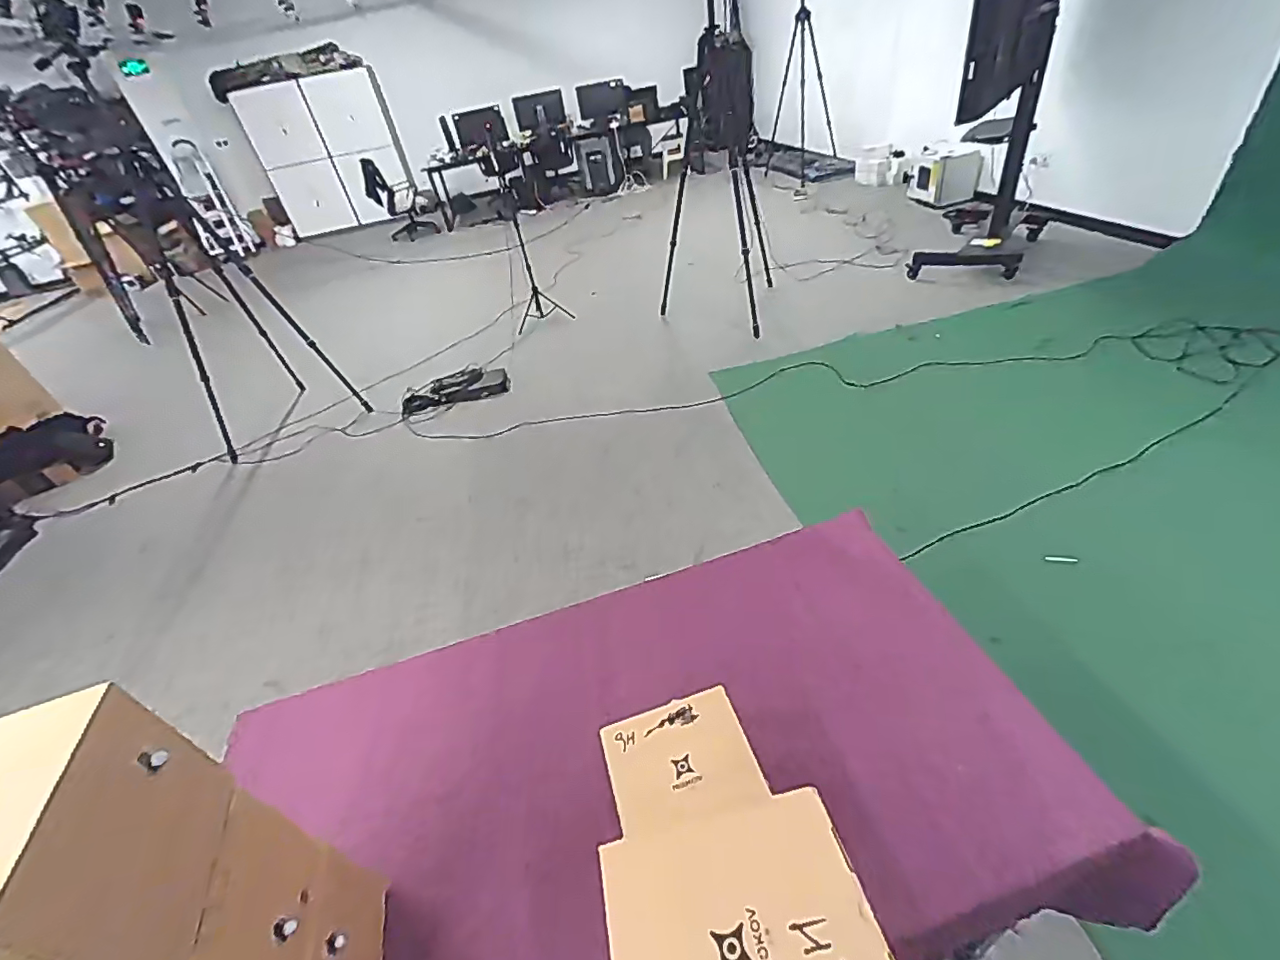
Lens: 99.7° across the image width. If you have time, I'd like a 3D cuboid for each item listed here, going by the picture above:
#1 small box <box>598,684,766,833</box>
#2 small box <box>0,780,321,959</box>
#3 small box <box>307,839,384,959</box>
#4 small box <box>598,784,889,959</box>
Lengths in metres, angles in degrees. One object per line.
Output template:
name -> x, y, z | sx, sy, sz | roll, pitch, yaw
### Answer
small box -> 0.059, 0.392, 0.666 | 0.168, 0.176, 0.179 | -17, 40, -7
small box -> -0.430, 0.420, 0.493 | 0.179, 0.176, 0.168 | -18, 39, -10
small box -> -0.401, 0.544, 0.594 | 0.168, 0.176, 0.179 | -17, 38, -8
small box -> 0.077, 0.365, 0.397 | 0.179, 0.176, 0.168 | -13, 35, -4
